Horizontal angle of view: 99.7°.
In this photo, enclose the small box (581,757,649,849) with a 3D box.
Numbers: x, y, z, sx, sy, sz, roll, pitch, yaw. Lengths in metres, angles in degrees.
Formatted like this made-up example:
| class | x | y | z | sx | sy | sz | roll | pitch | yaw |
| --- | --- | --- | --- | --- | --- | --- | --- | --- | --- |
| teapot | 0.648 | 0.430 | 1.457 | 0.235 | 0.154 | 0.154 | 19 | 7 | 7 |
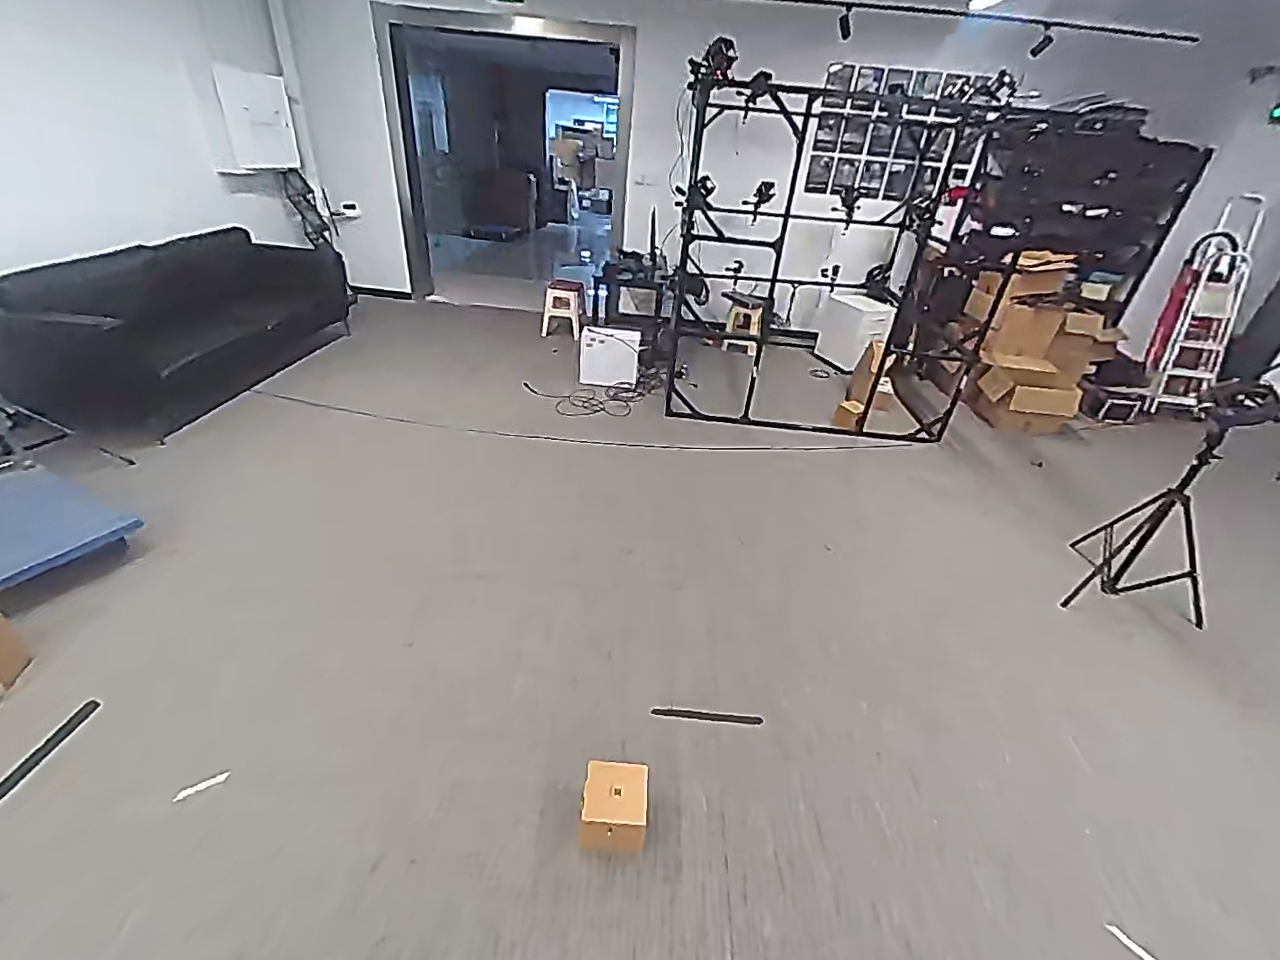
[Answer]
| class | x | y | z | sx | sy | sz | roll | pitch | yaw |
| --- | --- | --- | --- | --- | --- | --- | --- | --- | --- |
| small box | -0.069 | 0.926 | 1.546 | 0.179 | 0.176 | 0.168 | 5 | 33 | 1 |
